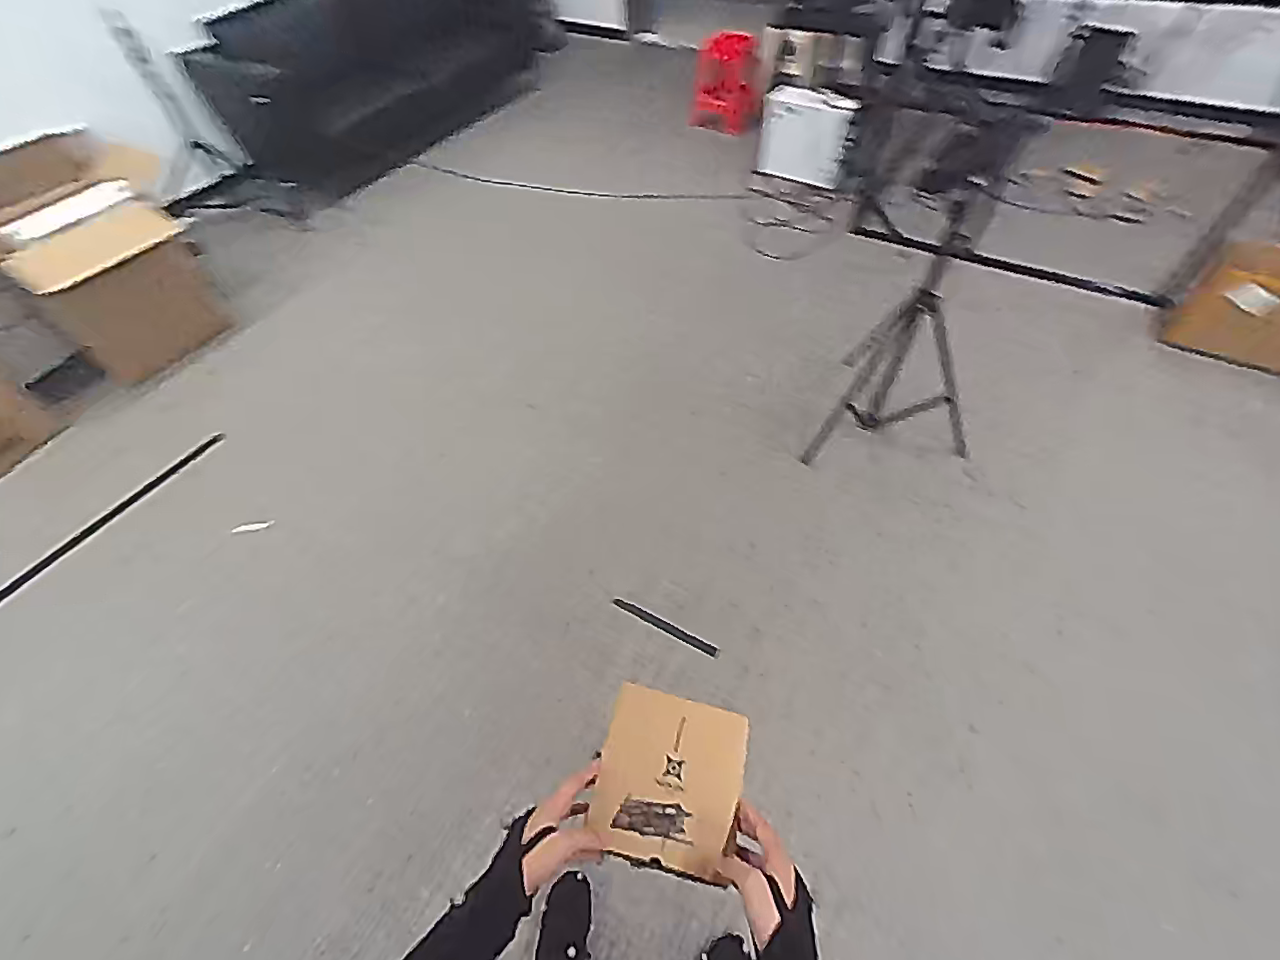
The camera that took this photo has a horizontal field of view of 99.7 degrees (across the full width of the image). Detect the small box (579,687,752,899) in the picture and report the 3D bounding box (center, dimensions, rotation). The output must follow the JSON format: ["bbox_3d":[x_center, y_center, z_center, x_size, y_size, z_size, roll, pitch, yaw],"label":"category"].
[{"bbox_3d":[0.027,0.383,0.667,0.168,0.176,0.179,15,55,2],"label":"small box"}]
